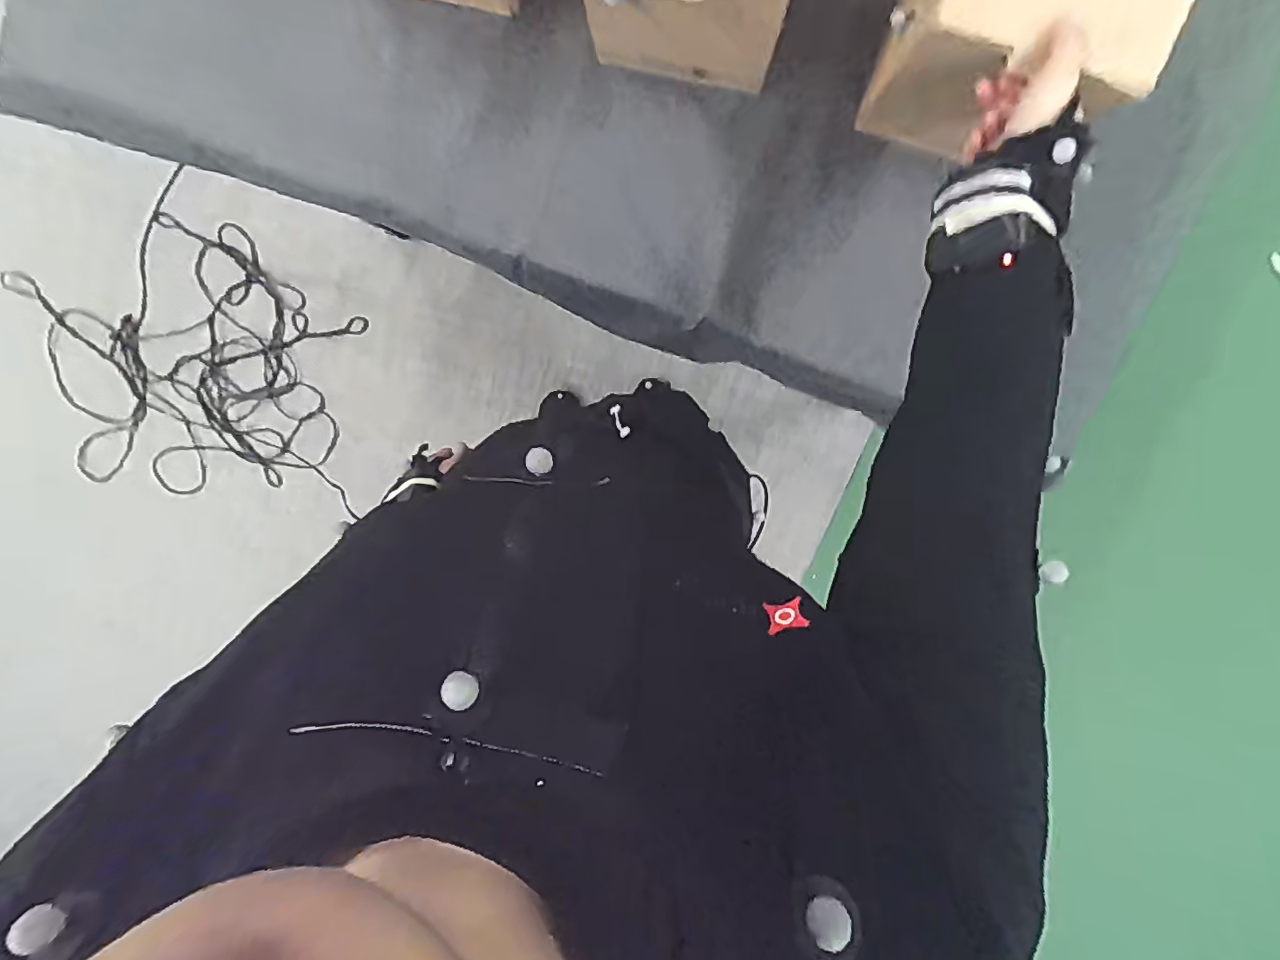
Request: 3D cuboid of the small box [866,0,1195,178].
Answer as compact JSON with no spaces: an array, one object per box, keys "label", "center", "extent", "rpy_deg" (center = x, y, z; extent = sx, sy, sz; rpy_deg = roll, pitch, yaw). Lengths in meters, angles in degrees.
[{"label":"small box","center":[0.314,-0.385,0.449],"extent":[0.168,0.176,0.179],"rpy_deg":[17,100,-2]}]
